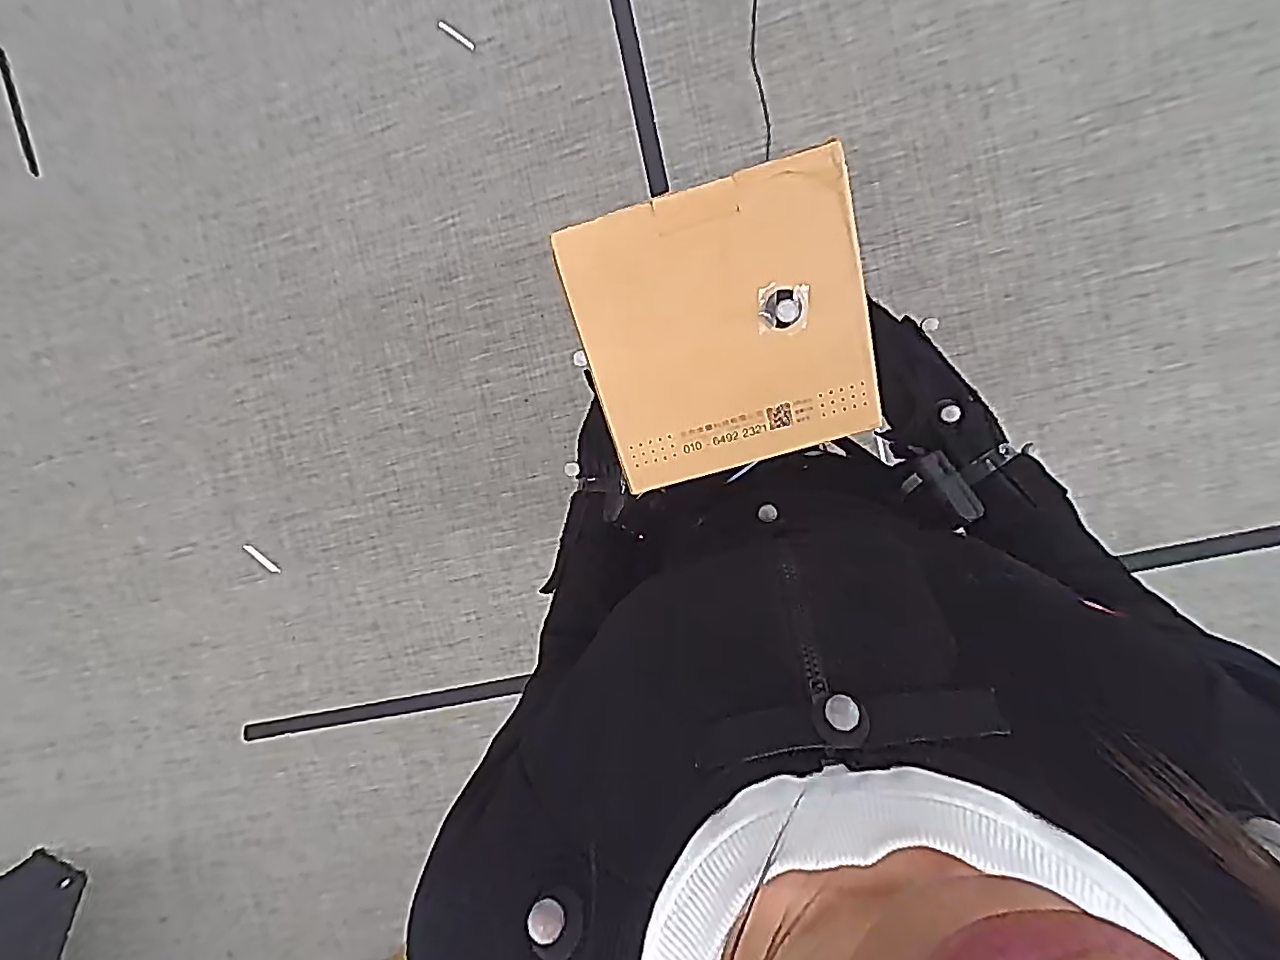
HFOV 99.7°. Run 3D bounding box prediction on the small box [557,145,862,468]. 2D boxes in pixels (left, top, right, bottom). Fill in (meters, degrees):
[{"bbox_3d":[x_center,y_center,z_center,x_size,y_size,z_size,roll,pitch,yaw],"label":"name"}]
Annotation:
[{"bbox_3d":[0.053,-0.121,0.412,0.168,0.179,0.176,-14,111,7],"label":"small box"}]
